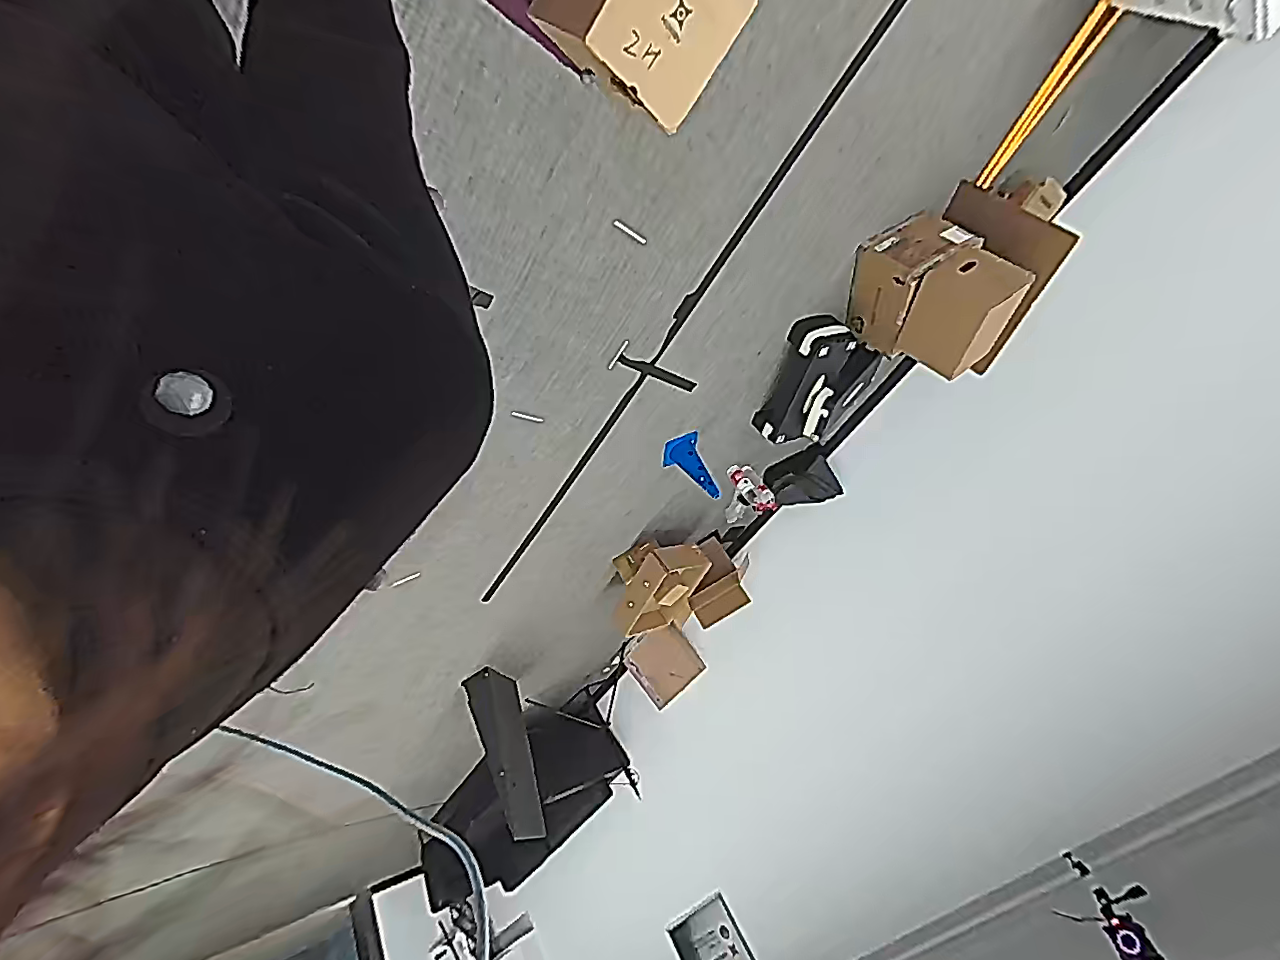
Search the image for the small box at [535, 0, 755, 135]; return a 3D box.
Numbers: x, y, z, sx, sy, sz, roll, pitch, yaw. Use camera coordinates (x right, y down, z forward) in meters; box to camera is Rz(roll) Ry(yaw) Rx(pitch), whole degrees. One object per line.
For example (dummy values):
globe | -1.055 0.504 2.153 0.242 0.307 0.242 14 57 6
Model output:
small box | -0.001 -0.578 0.661 0.168 0.176 0.179 14 122 -49
